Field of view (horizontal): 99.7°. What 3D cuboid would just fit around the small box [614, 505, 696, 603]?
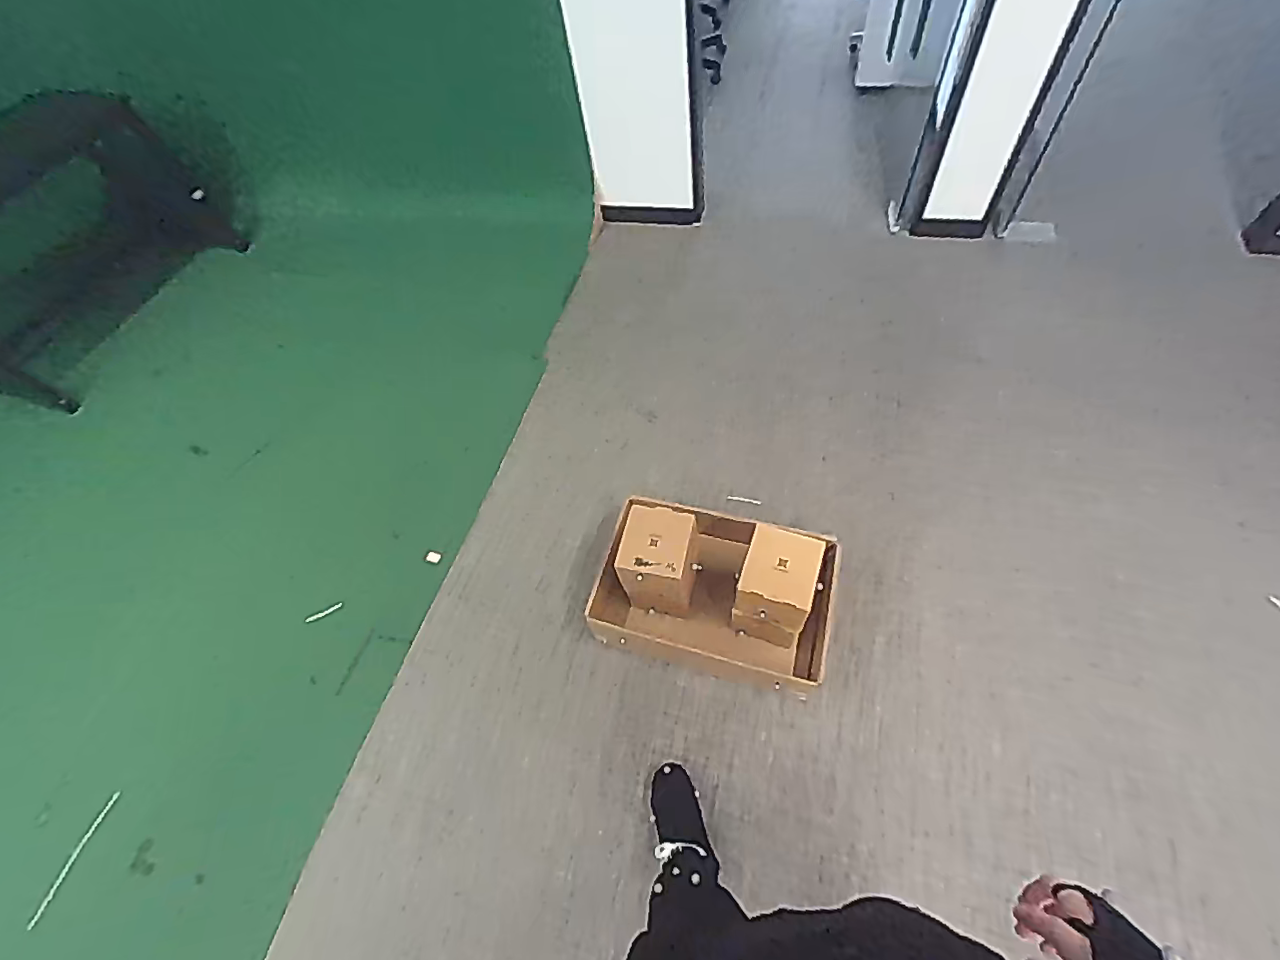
[{"bbox_3d":[0.046,0.189,1.372,0.168,0.176,0.179,9,59,14],"label":"small box"}]

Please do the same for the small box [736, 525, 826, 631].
[{"bbox_3d":[0.334,0.239,1.305,0.168,0.176,0.179,16,63,16],"label":"small box"}]
